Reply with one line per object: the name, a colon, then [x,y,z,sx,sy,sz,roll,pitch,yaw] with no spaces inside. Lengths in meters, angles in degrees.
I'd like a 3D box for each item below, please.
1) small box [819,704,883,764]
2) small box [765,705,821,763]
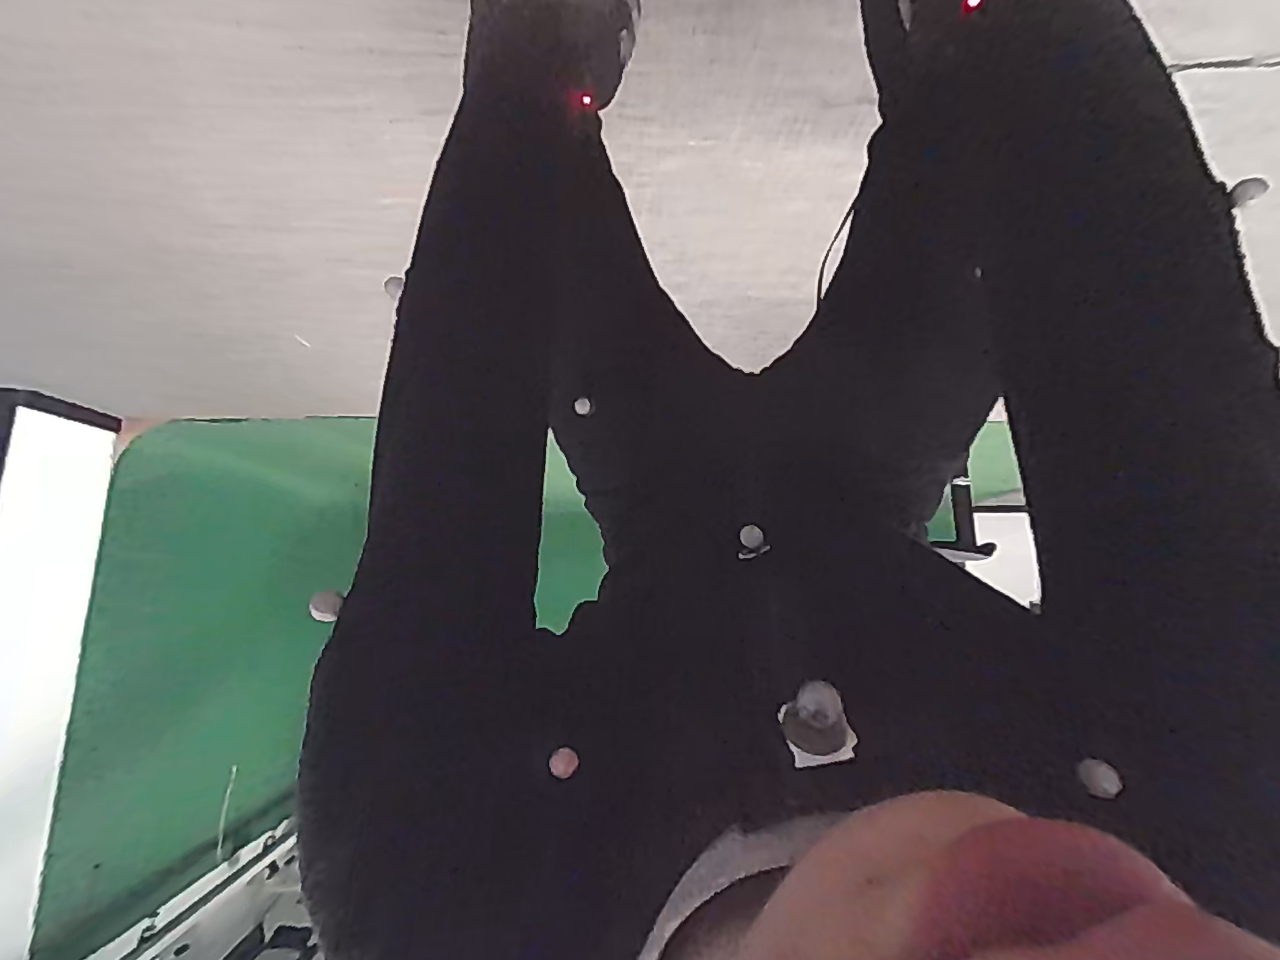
small box: [0.806,0.969,2.079,0.179,0.176,0.168,-1,171,-2]
small box: [0.585,0.974,2.084,0.168,0.176,0.179,0,170,-1]
